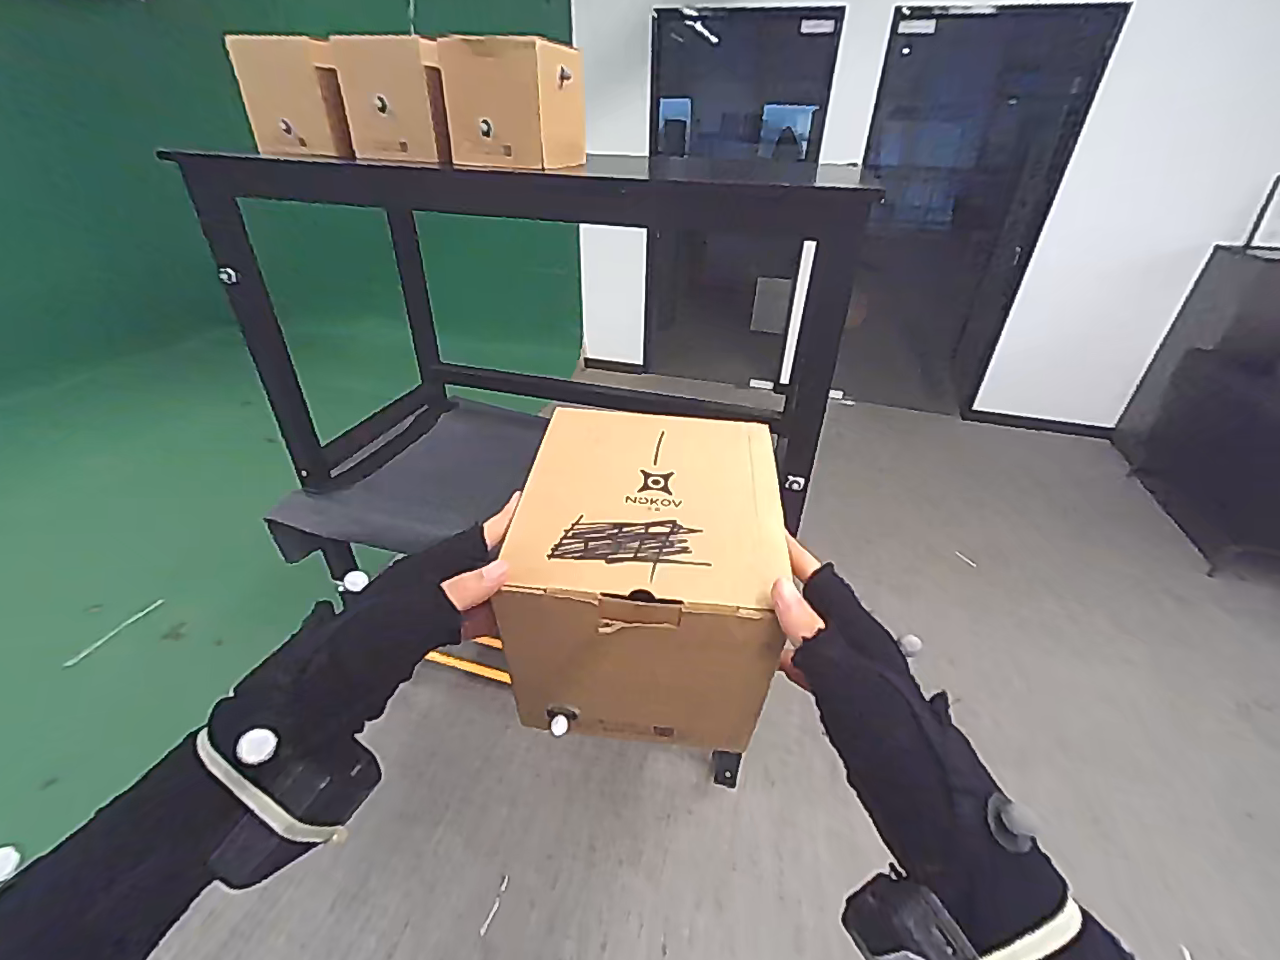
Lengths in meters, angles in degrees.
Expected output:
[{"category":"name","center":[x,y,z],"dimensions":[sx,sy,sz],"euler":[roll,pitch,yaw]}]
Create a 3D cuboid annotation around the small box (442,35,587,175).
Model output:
[{"category":"small box","center":[-0.194,-0.605,0.882],"dimensions":[0.168,0.176,0.179],"euler":[11,35,13]}]
